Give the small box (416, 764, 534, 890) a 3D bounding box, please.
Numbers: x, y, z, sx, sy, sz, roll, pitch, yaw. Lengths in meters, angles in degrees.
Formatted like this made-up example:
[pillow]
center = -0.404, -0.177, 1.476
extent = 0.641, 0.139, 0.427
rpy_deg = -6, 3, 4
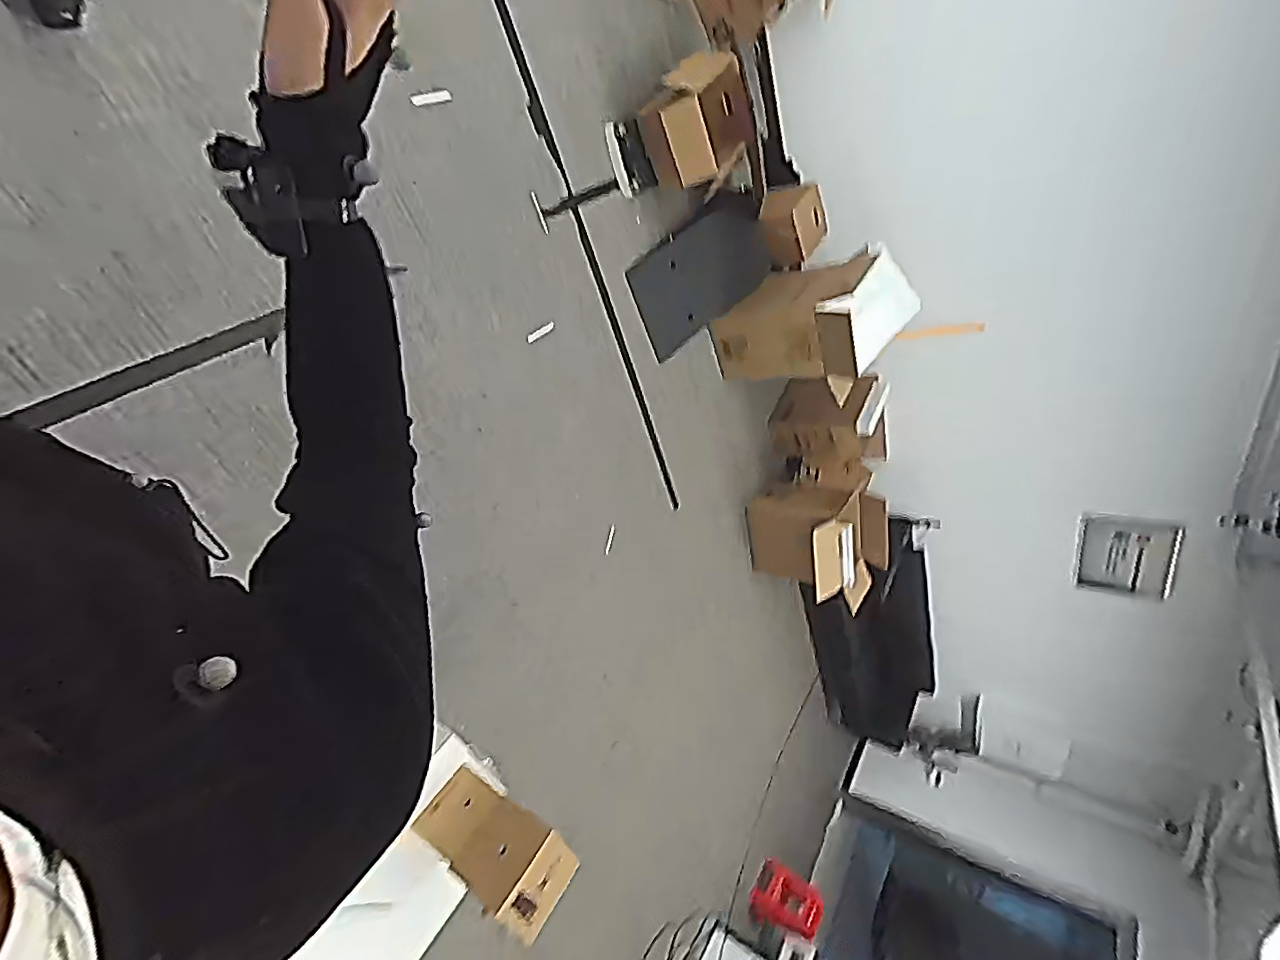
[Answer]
[small box]
center = -0.393, 0.812, 1.284
extent = 0.168, 0.176, 0.179
rpy_deg = -47, 130, -36
